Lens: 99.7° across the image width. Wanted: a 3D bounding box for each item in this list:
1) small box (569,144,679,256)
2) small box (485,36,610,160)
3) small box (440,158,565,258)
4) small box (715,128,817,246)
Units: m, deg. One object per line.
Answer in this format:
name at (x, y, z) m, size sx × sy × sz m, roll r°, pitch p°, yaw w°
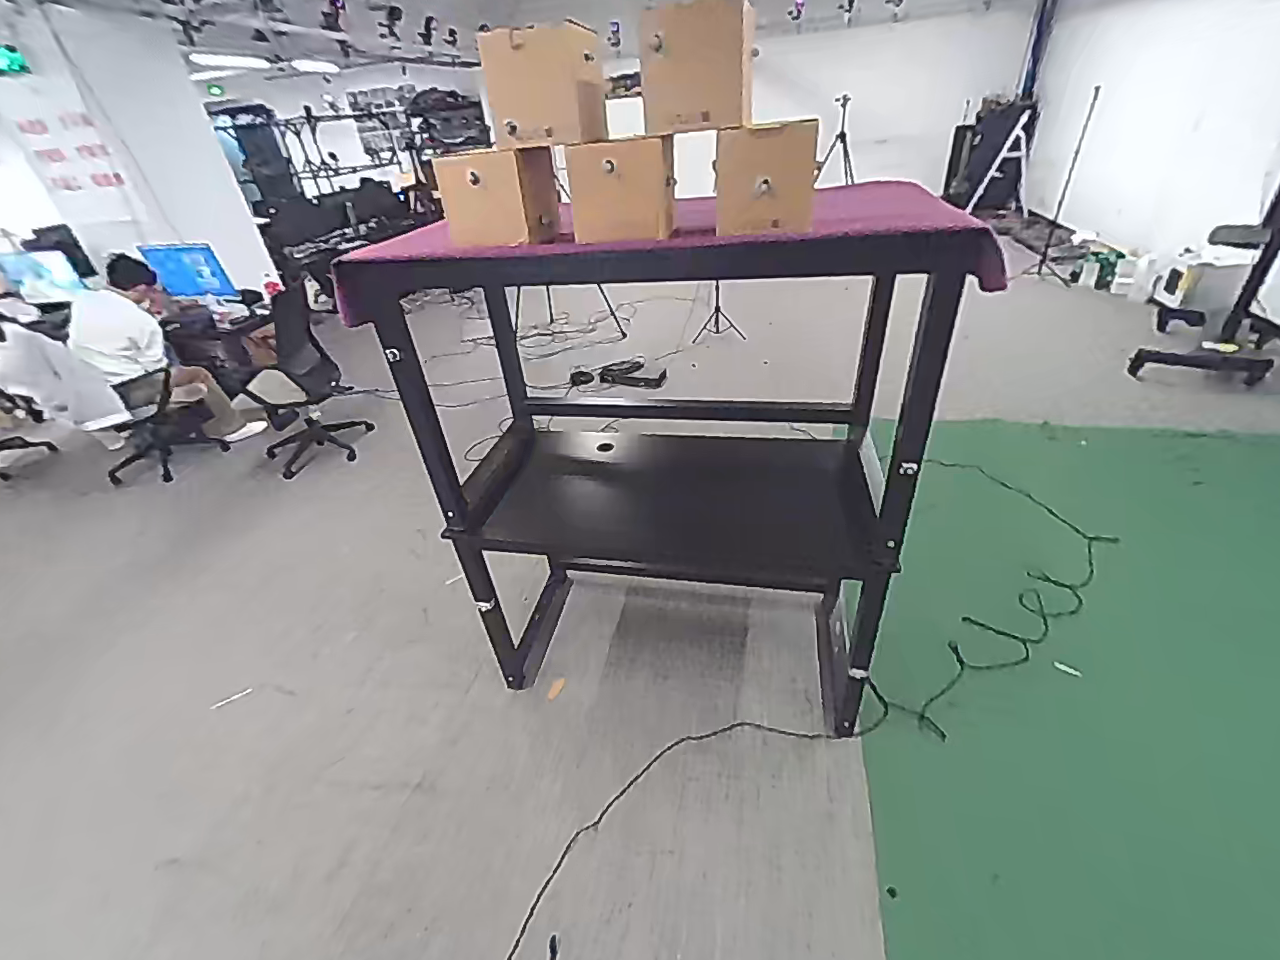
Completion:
small box at (-0.021, -0.543, 1.051) m, size 0.179 × 0.176 × 0.168 m, roll 1°, pitch 33°, yaw 12°
small box at (-0.159, -0.695, 1.002) m, size 0.168 × 0.176 × 0.179 m, roll 3°, pitch 33°, yaw 13°
small box at (-0.272, -0.557, 1.108) m, size 0.179 × 0.176 × 0.168 m, roll 6°, pitch 34°, yaw 16°
small box at (0.234, -0.535, 0.994) m, size 0.168 × 0.176 × 0.179 m, roll 4°, pitch 35°, yaw 14°
